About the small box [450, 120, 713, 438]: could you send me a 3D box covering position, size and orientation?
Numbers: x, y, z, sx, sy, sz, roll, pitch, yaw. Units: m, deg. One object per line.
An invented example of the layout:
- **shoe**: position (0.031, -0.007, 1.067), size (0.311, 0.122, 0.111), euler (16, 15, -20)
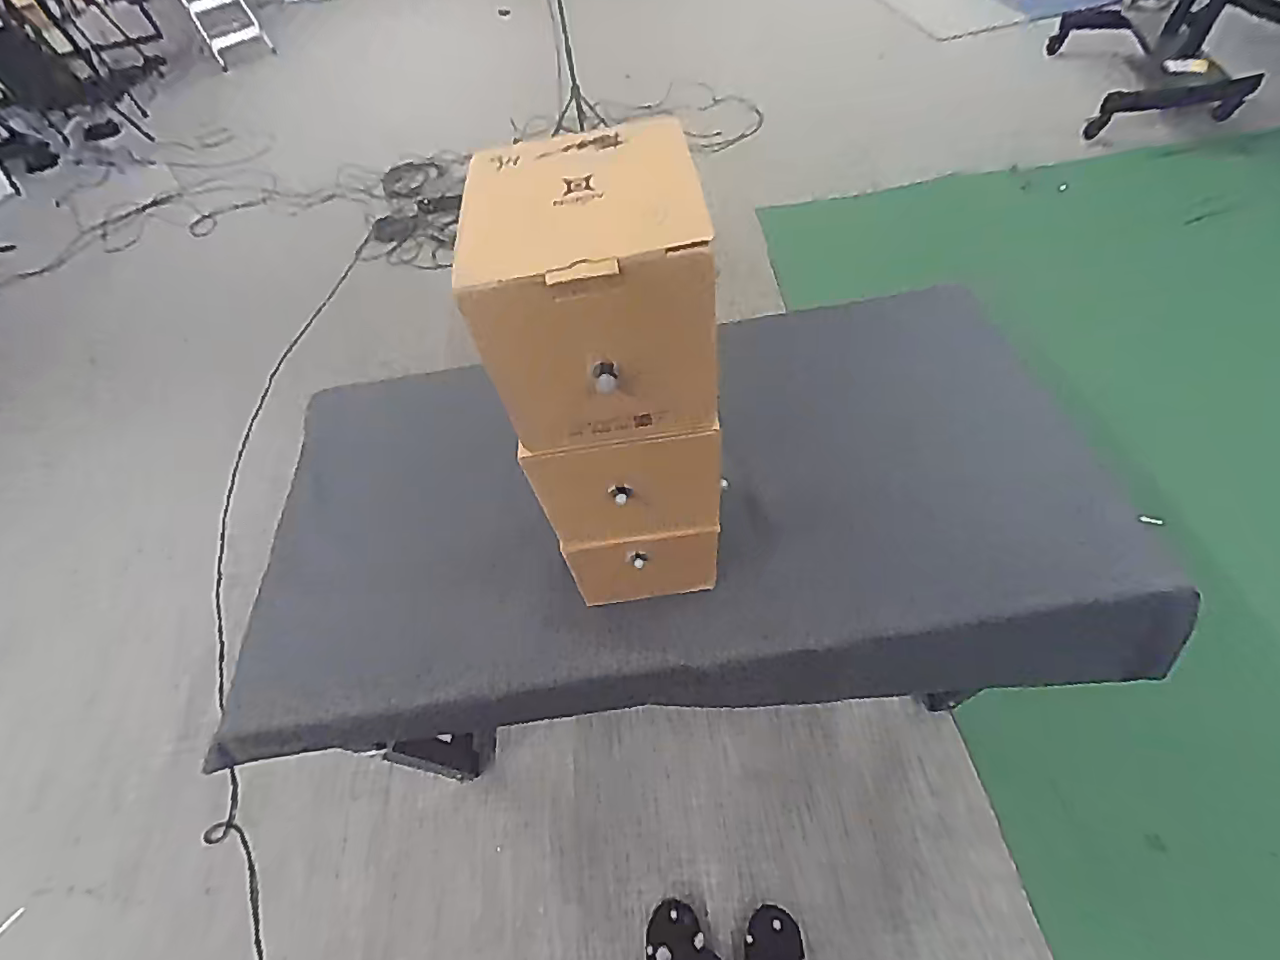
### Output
- **small box**: position (-0.034, -0.149, 0.440), size (0.168, 0.176, 0.179), euler (-8, 57, 3)

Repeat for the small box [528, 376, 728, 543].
- **small box**: position (-0.013, -0.050, 0.570), size (0.179, 0.176, 0.168), euler (-10, 56, 0)

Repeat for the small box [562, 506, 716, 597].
- **small box**: position (0.001, 0.041, 0.705), size (0.179, 0.176, 0.168), euler (-8, 56, 1)
